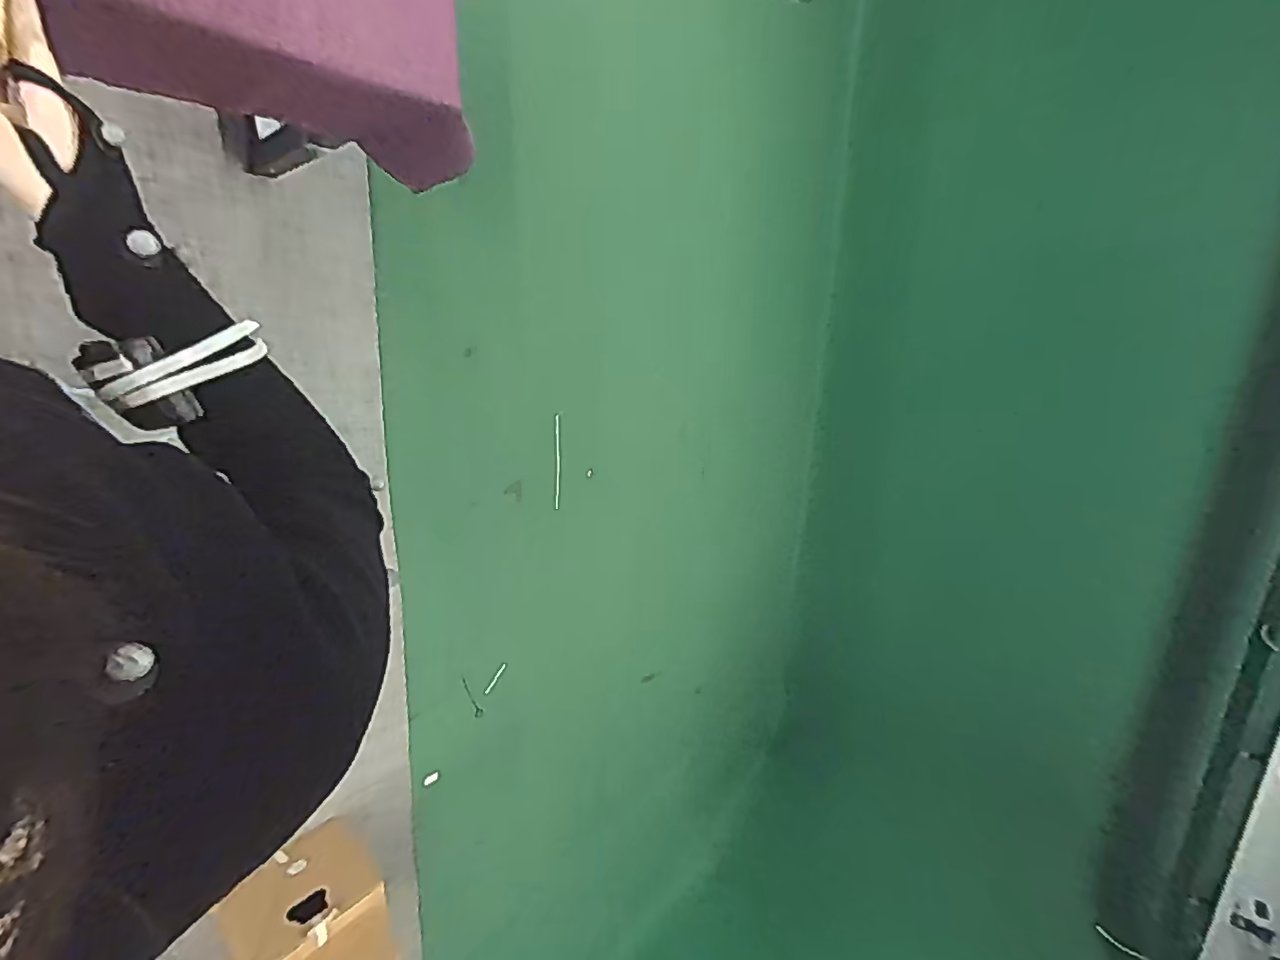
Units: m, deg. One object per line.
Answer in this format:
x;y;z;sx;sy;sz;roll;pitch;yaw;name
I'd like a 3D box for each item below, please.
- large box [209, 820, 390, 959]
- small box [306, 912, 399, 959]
-0.909;1.256;1.472;0.320;0.320;0.408;-16;114;-49;large box
-0.708;1.229;1.319;0.179;0.176;0.168;-18;115;-49;small box
